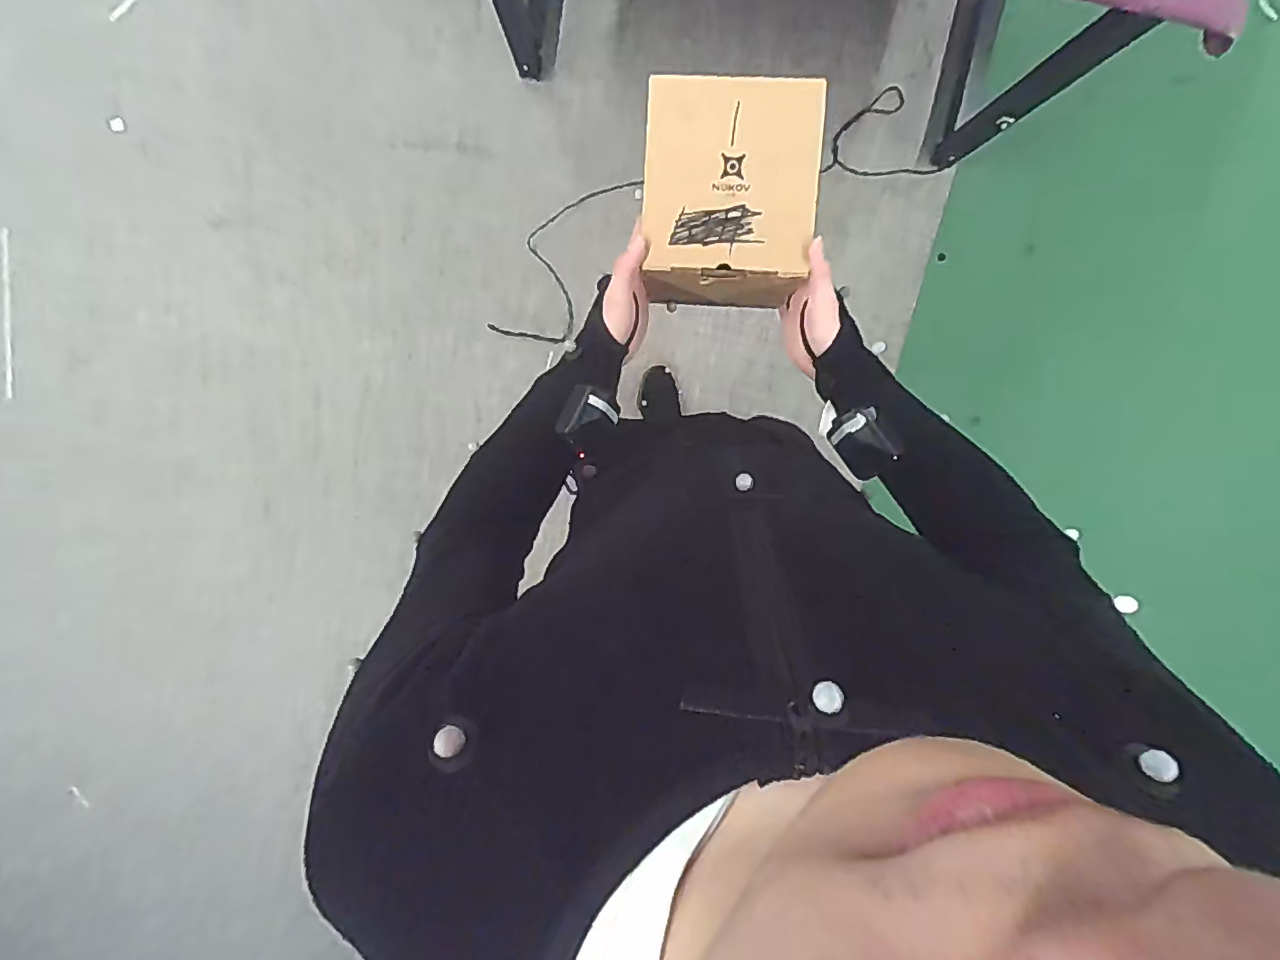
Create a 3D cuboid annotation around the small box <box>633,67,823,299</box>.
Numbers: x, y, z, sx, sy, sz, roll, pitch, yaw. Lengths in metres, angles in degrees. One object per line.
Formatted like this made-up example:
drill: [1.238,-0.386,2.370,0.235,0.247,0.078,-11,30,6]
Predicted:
small box: [0.086,-0.300,0.583,0.168,0.176,0.179,3,97,4]
